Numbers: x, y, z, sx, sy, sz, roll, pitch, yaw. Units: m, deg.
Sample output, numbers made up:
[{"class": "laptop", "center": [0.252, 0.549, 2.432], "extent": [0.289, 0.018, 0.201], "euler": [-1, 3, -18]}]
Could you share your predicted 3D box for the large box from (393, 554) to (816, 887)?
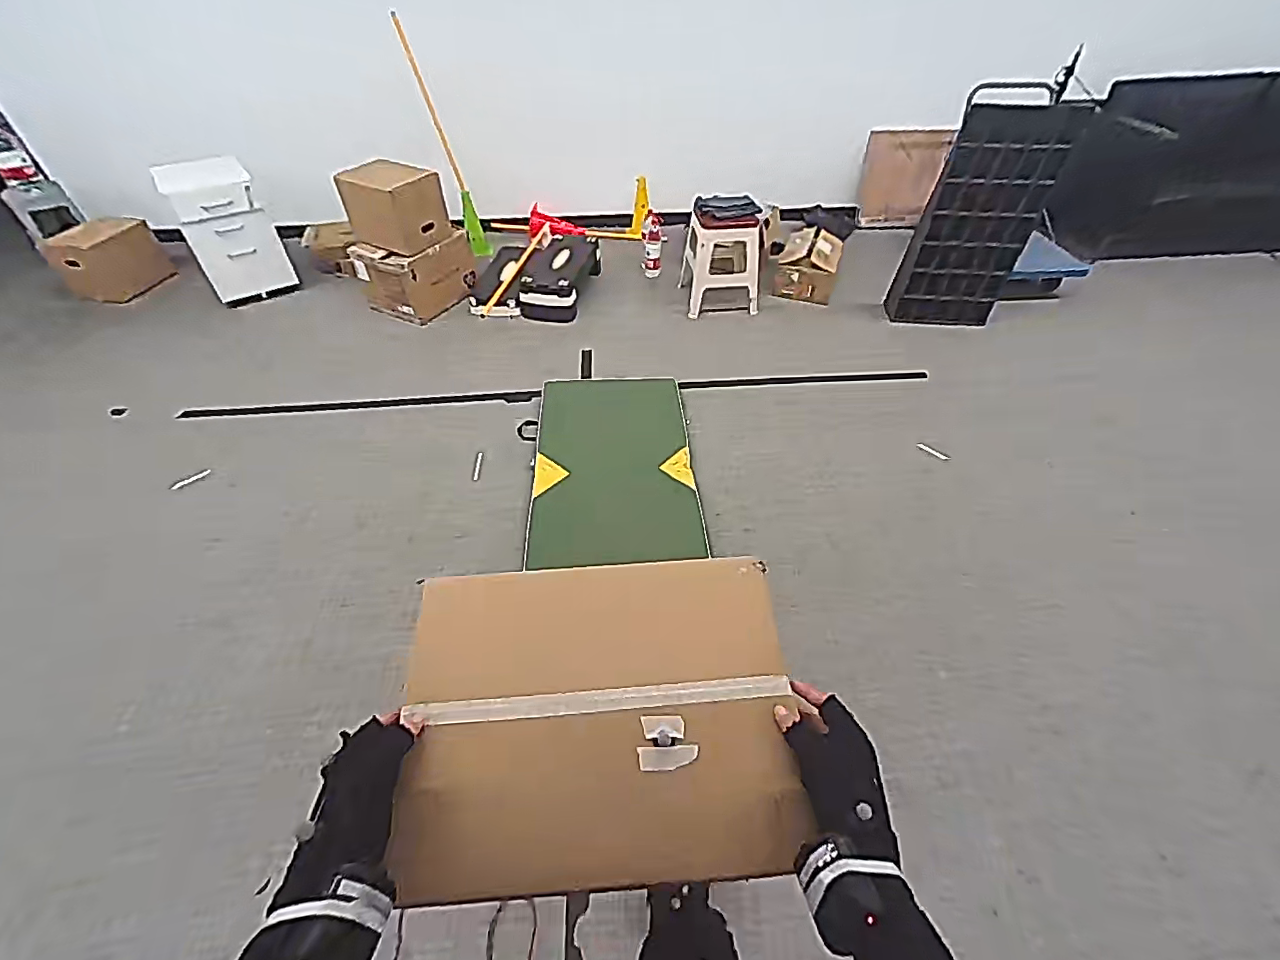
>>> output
[{"class": "large box", "center": [-0.042, 0.319, 0.705], "extent": [0.408, 0.320, 0.320], "euler": [-3, 54, -2]}]
